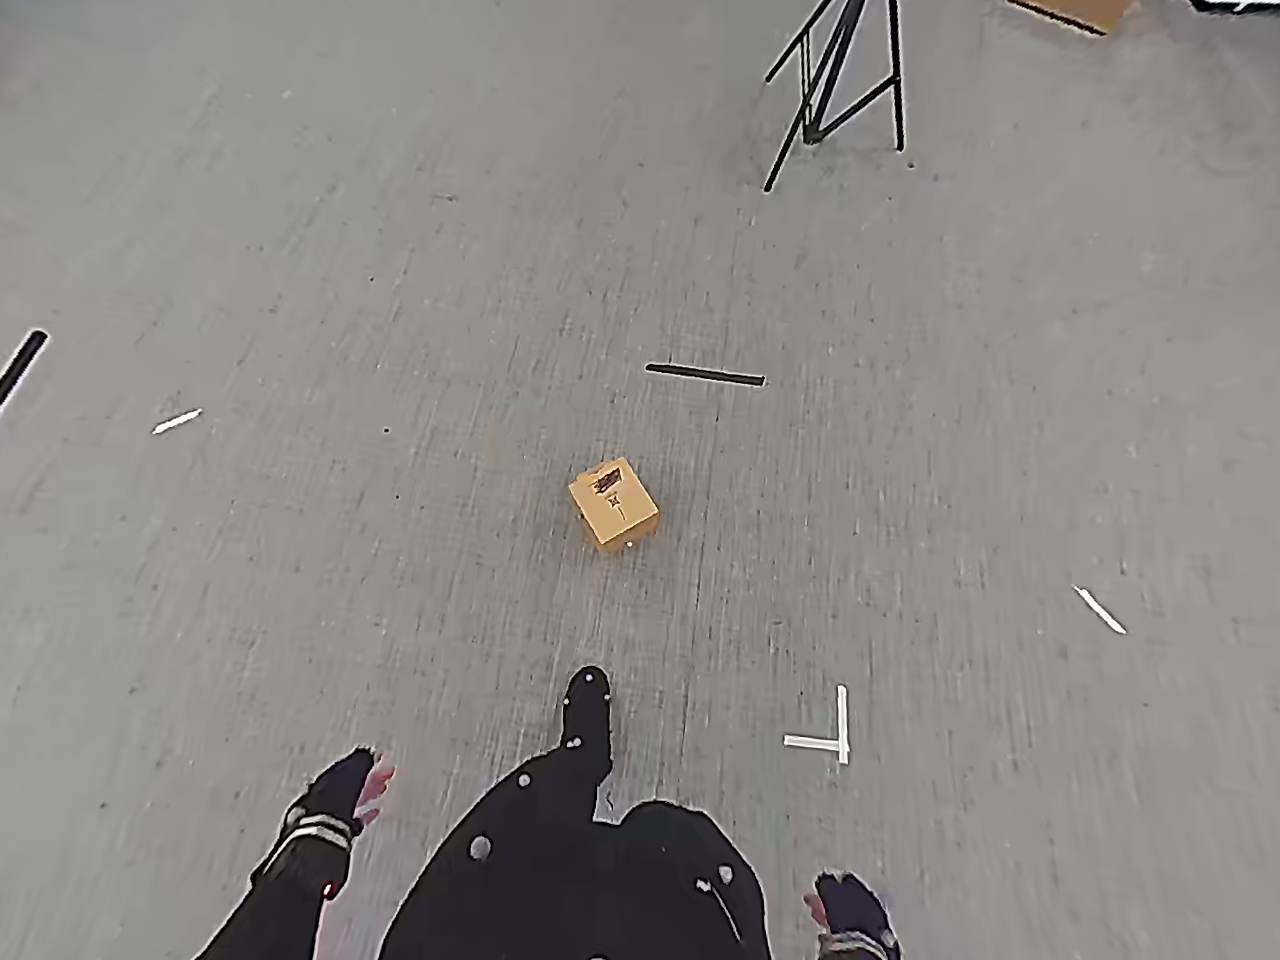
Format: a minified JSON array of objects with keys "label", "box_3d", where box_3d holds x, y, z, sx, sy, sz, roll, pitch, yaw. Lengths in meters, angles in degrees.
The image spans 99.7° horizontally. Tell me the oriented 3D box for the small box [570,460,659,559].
[{"label":"small box","box_3d":[-0.068,0.082,1.416,0.168,0.176,0.179,-29,73,-12]}]
